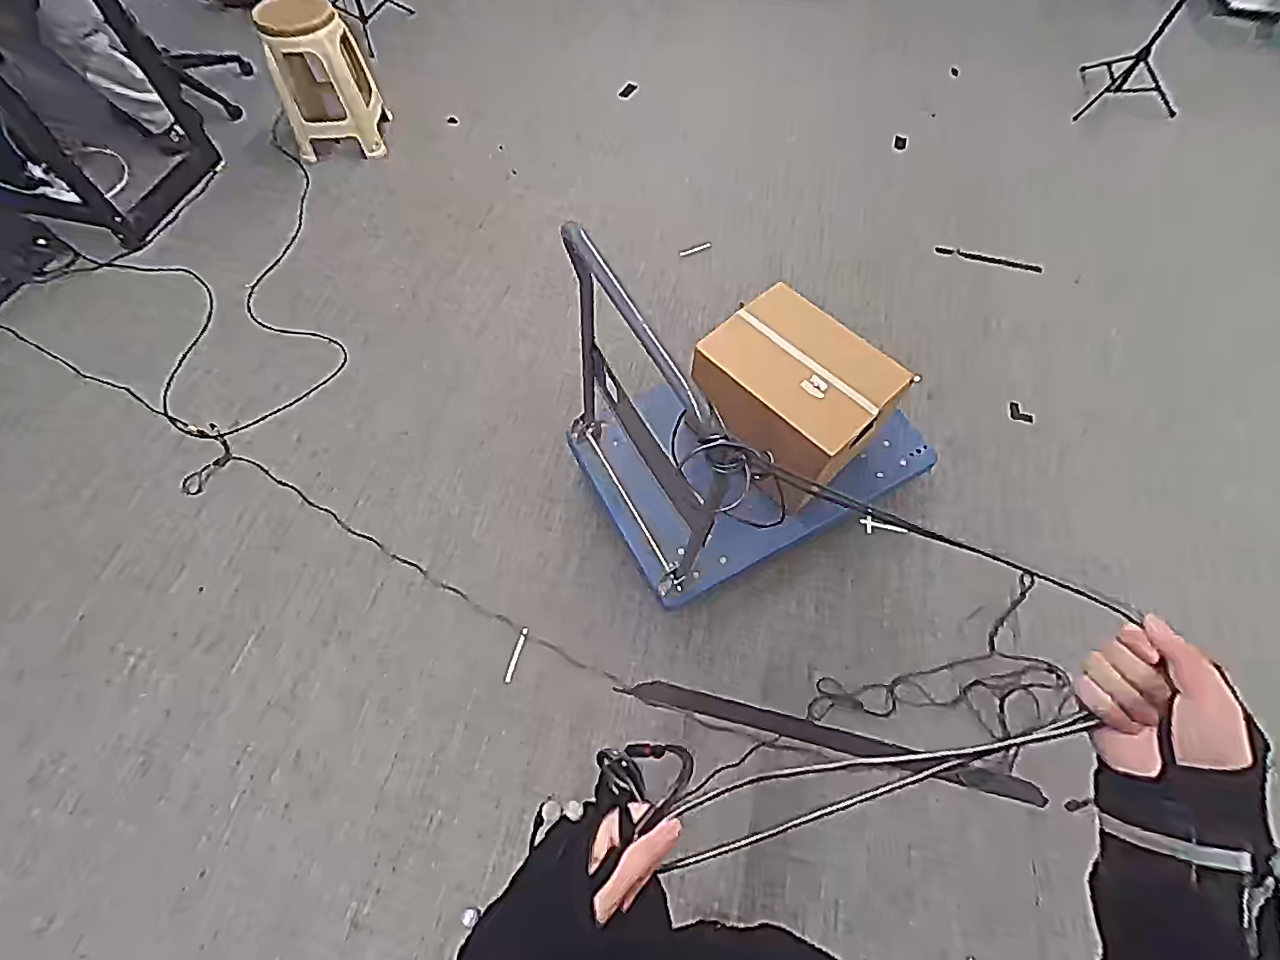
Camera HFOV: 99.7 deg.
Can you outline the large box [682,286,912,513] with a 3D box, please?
[{"bbox_3d":[0.362,-0.196,1.356,0.320,0.320,0.408,-40,71,-18],"label":"large box"}]
